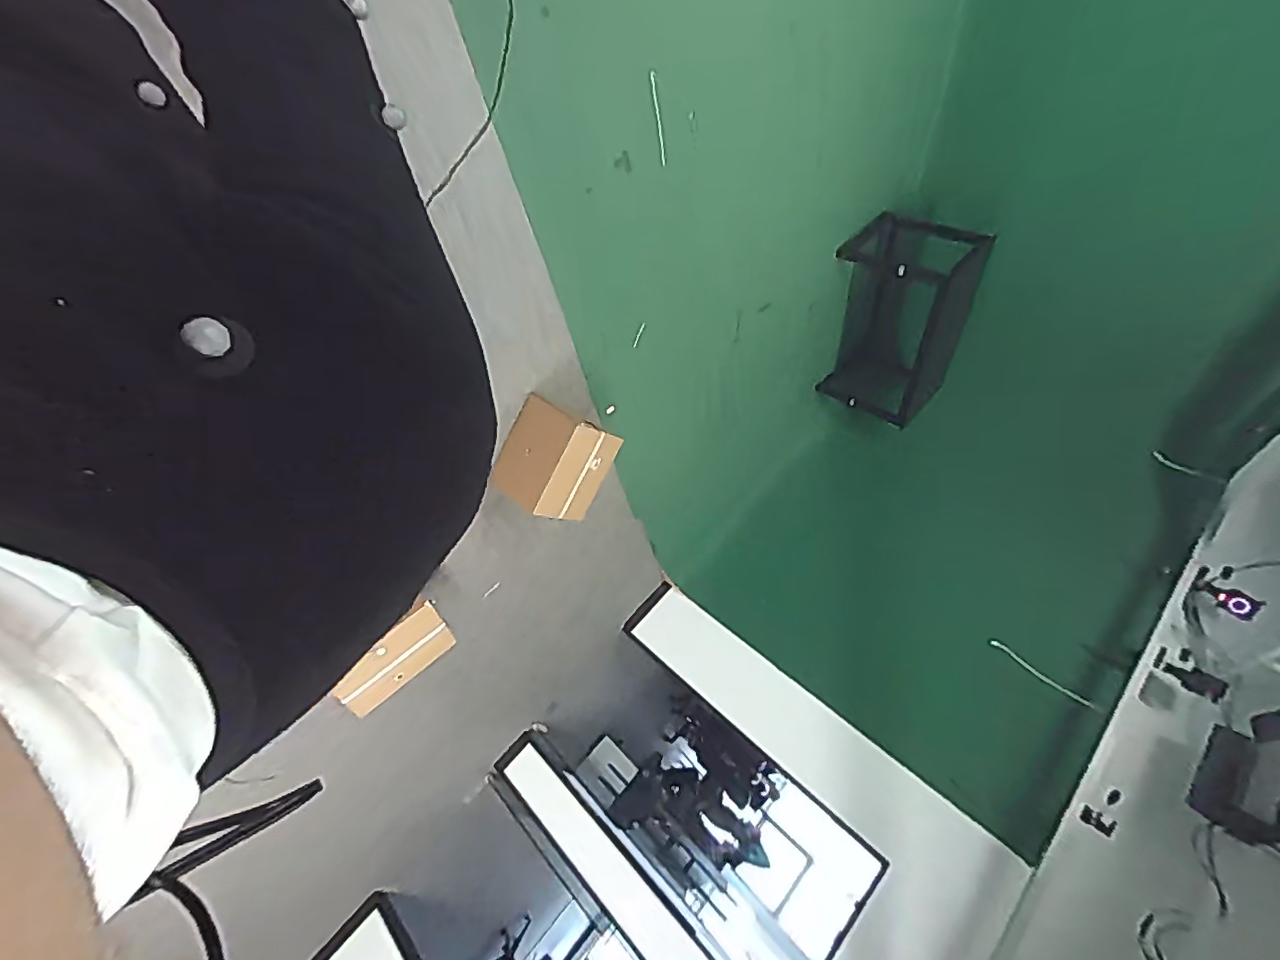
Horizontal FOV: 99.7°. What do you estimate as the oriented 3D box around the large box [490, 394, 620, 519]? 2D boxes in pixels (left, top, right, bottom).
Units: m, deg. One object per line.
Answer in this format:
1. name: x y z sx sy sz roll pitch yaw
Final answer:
1. large box: -0.357 -0.090 2.259 0.320 0.320 0.408 14 106 -58
